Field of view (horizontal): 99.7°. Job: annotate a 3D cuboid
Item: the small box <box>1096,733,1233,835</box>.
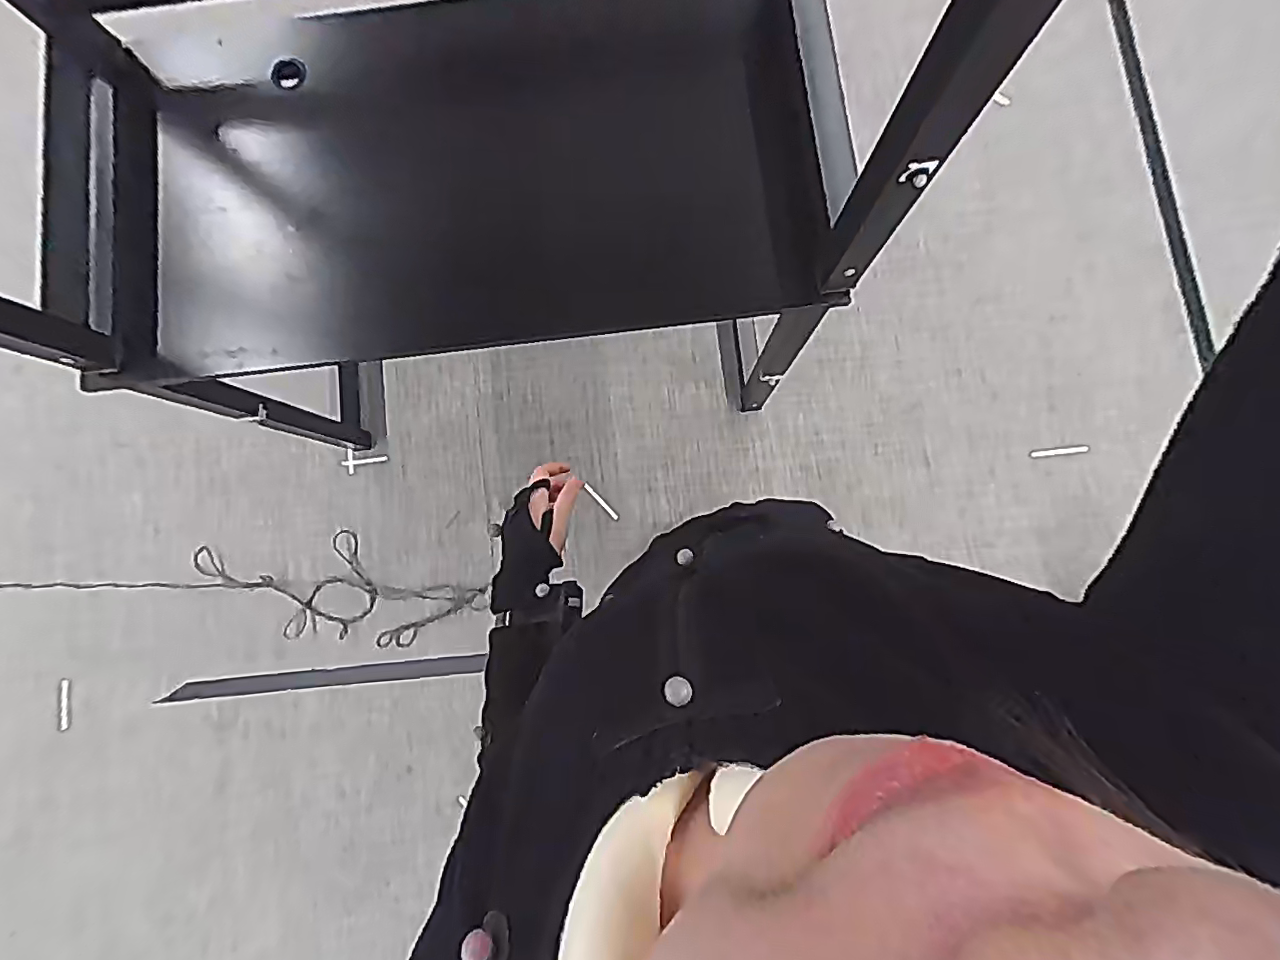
[{"bbox_3d":[1.245,0.723,1.302,0.179,0.176,0.168,-1,84,2],"label":"small box"}]
